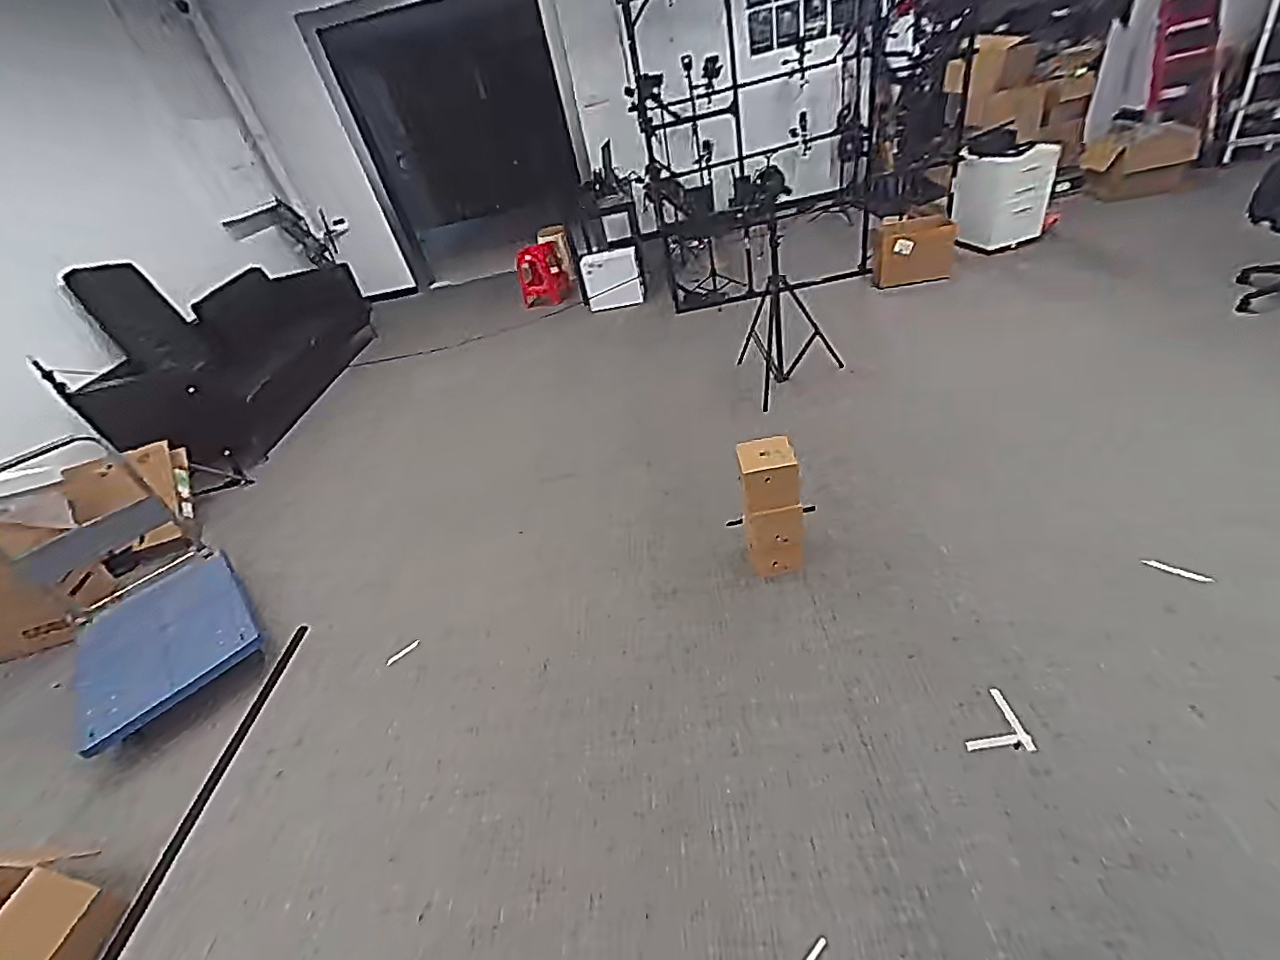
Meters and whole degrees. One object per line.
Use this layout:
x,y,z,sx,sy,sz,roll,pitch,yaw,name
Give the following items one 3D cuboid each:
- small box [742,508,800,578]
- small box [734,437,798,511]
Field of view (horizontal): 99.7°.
0.483,0.234,1.995,0.168,0.176,0.179,-13,36,2,small box
0.417,-0.015,1.790,0.179,0.176,0.168,-10,38,6,small box
